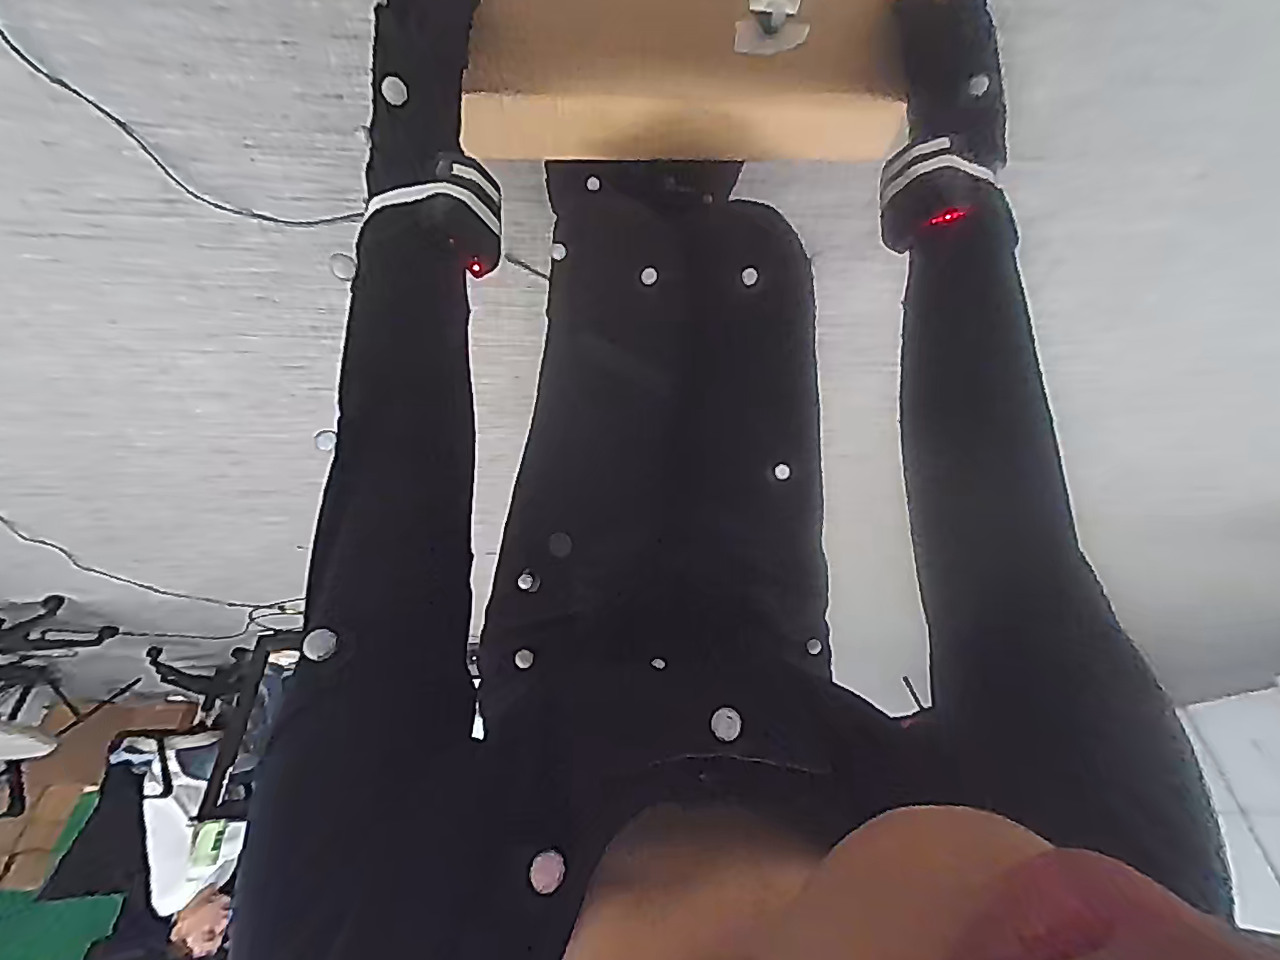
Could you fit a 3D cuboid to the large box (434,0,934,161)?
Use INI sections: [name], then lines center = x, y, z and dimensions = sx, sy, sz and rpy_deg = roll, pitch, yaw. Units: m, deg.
[large box]
center = 0.027, -0.520, 0.475
dimensions = 0.408, 0.320, 0.320
rpy_deg = -3, 147, -3
